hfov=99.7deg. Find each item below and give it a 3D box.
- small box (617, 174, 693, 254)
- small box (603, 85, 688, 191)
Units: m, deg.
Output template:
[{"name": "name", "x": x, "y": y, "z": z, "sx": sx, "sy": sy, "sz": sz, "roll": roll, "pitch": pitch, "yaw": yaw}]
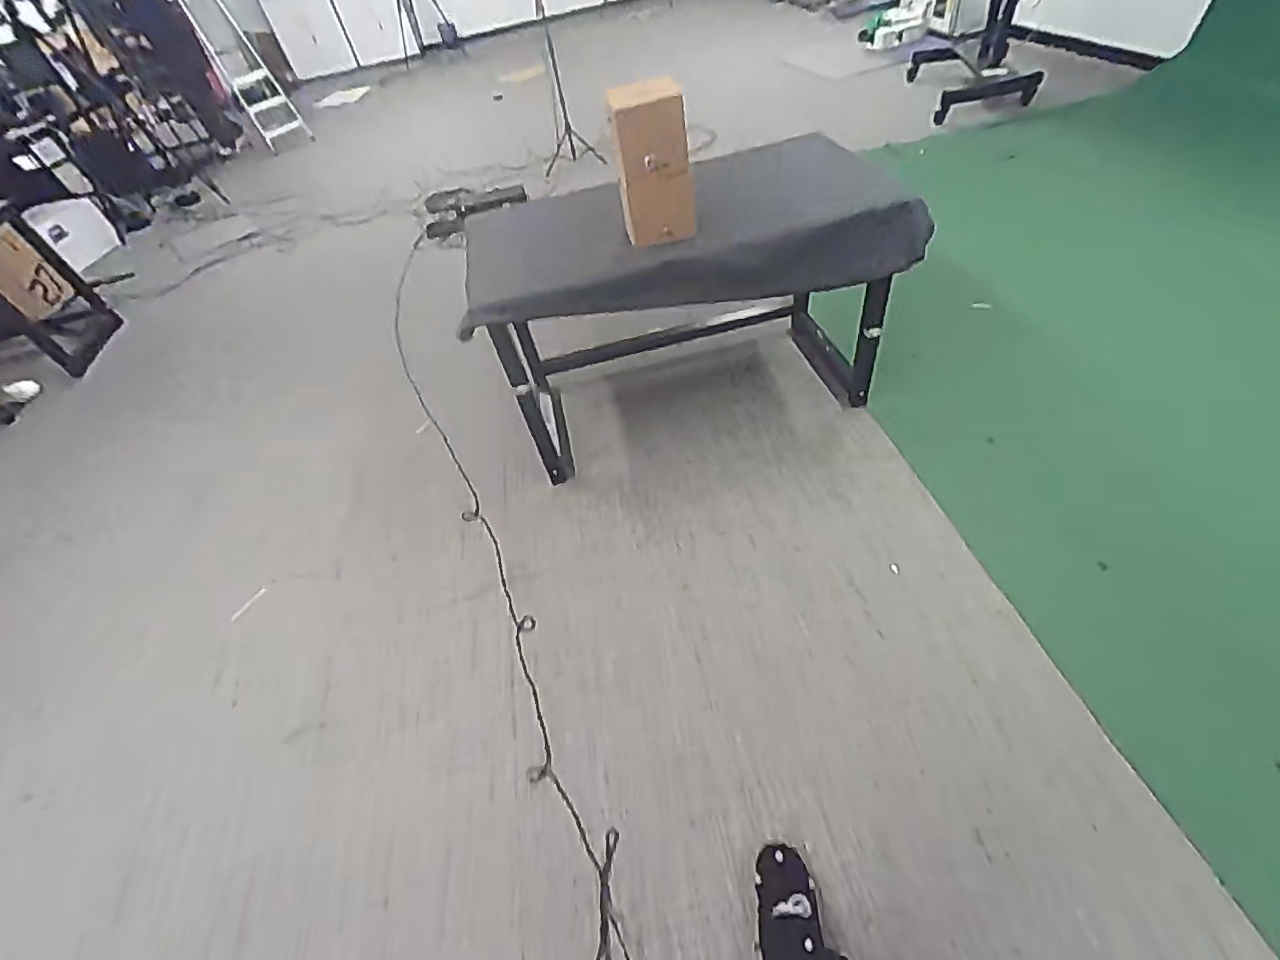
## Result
[{"name": "small box", "x": 0.043, "y": -0.739, "z": 1.464, "sx": 0.179, "sy": 0.176, "sz": 0.168, "roll": -12, "pitch": 47, "yaw": -1}, {"name": "small box", "x": 0.015, "y": -0.848, "z": 1.346, "sx": 0.168, "sy": 0.176, "sz": 0.179, "roll": -16, "pitch": 48, "yaw": 0}]
